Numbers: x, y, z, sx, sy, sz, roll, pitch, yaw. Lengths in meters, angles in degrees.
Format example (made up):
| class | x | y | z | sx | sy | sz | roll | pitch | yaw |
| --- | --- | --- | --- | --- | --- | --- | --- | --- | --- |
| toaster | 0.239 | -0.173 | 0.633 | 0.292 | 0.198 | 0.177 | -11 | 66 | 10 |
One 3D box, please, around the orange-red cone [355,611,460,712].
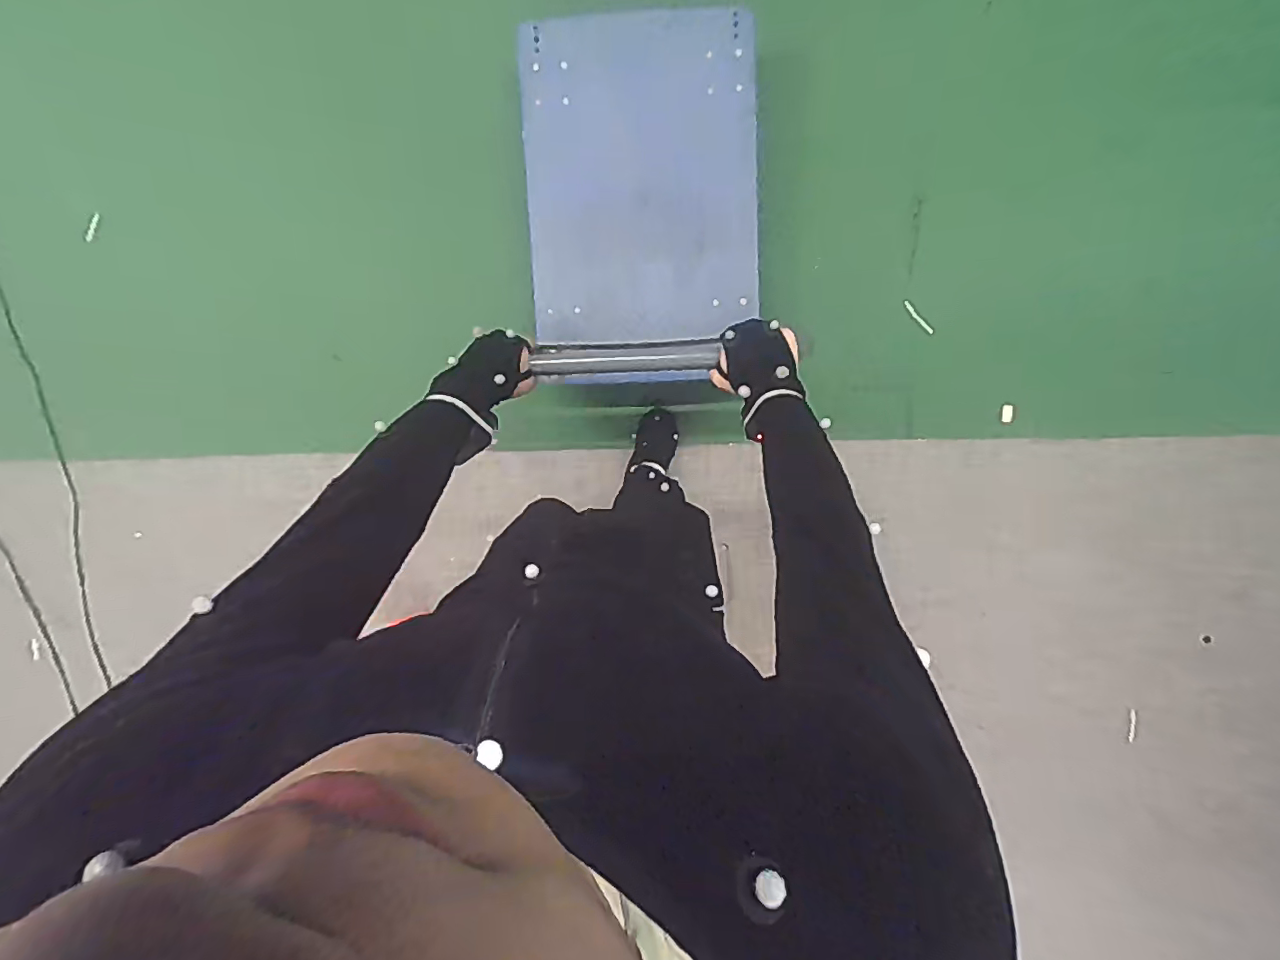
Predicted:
| class | x | y | z | sx | sy | sz | roll | pitch | yaw |
| --- | --- | --- | --- | --- | --- | --- | --- | --- | --- |
| orange-red cone | -0.678 | 0.536 | 1.508 | 0.199 | 0.360 | 0.198 | -16 | 96 | 5 |
